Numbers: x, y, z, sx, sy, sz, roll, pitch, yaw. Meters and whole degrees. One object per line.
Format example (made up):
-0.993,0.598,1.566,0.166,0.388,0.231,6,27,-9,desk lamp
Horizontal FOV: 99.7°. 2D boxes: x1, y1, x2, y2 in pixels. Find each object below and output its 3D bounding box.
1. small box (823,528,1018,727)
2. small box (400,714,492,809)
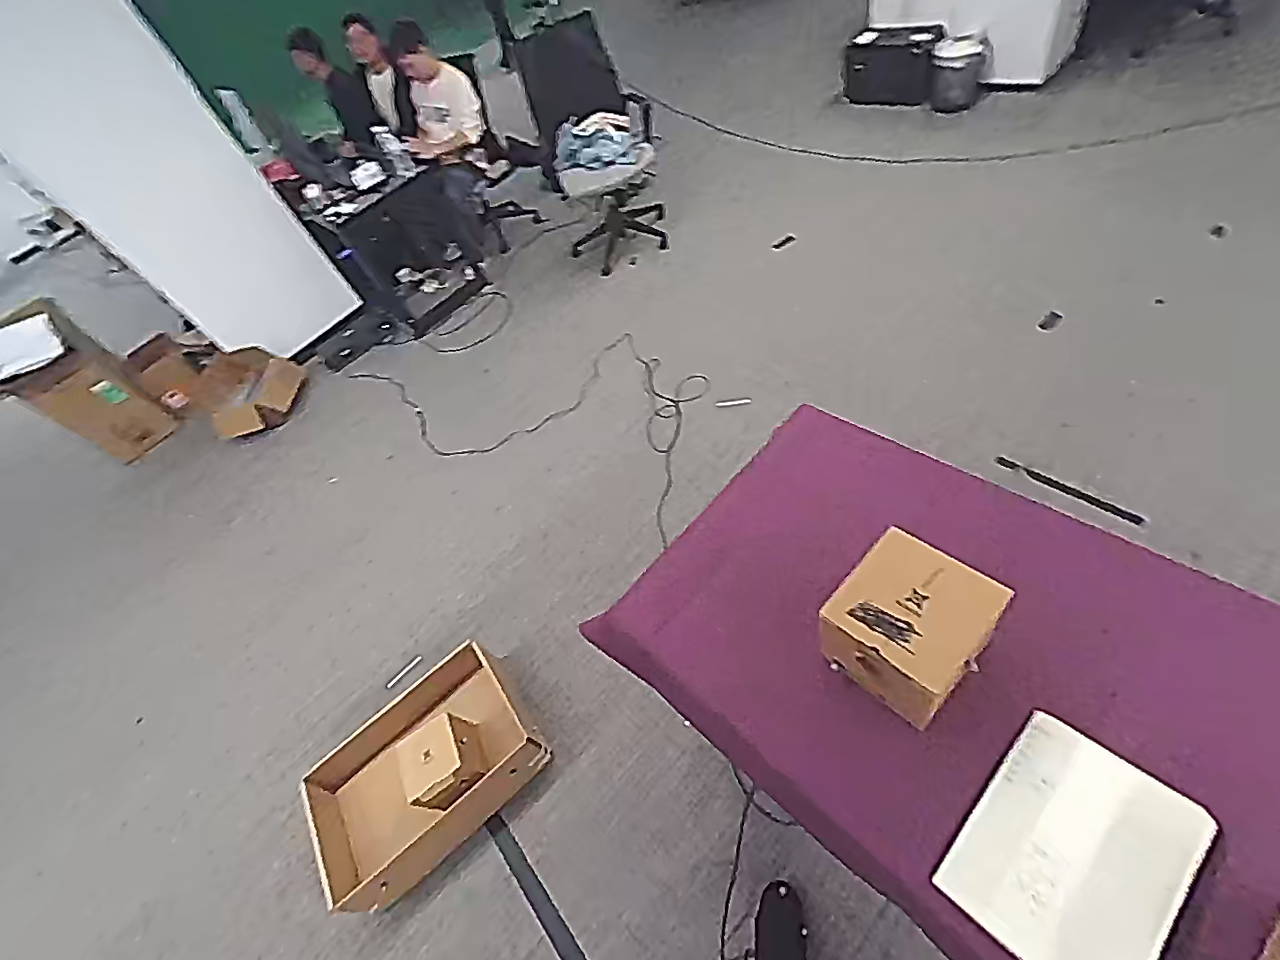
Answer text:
0.378,0.207,0.751,0.179,0.176,0.168,-43,51,-15,small box
-0.547,0.806,1.538,0.168,0.176,0.179,-33,50,-6,small box
